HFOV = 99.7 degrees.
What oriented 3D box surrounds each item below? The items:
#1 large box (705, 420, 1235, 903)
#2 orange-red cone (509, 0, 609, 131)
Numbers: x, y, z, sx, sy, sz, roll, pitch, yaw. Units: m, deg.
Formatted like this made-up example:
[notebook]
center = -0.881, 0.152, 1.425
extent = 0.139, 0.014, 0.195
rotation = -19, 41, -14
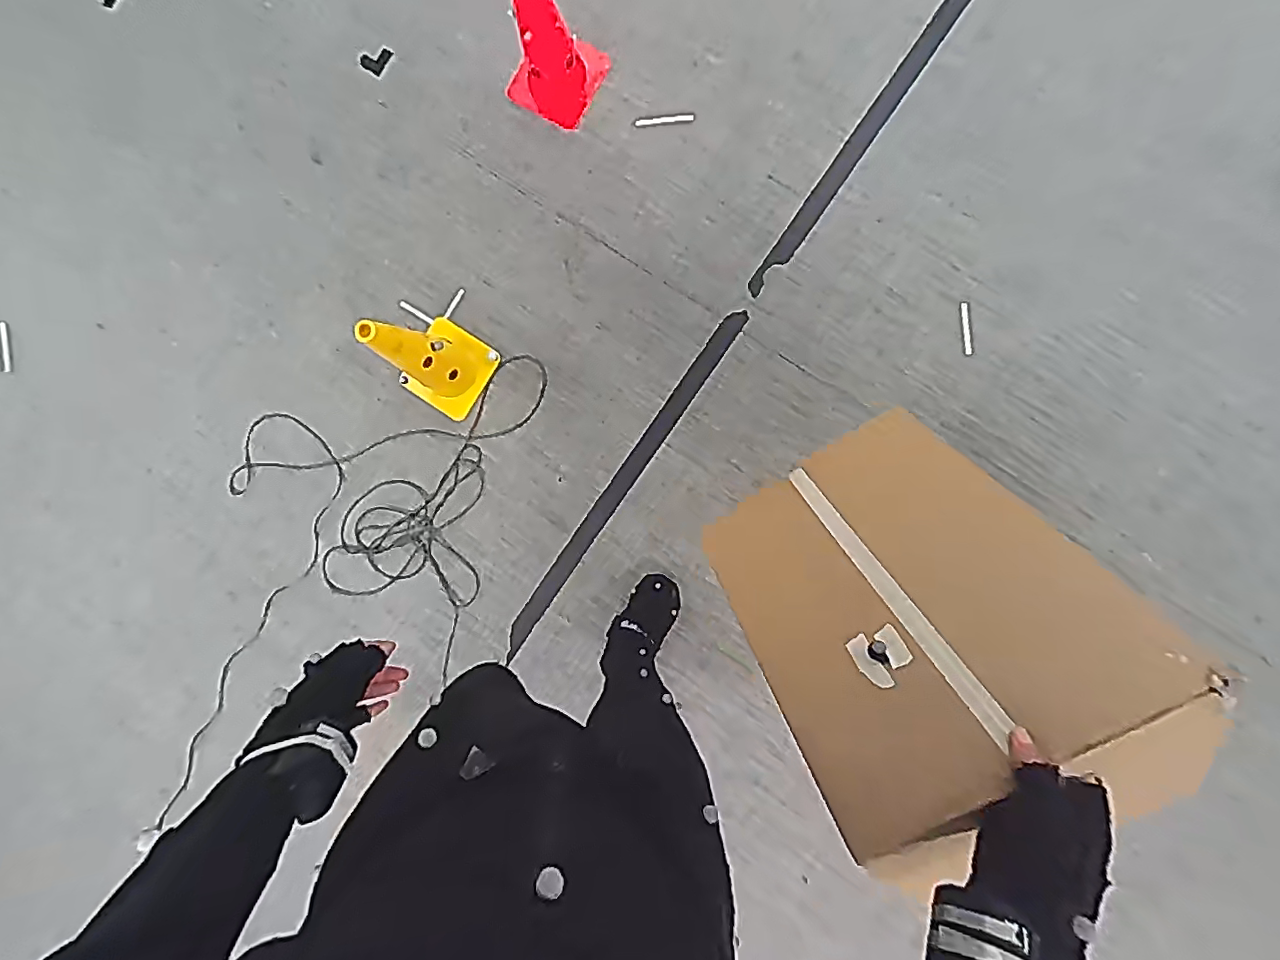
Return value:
[large box]
center = 0.335, 0.205, 0.660
extent = 0.320, 0.408, 0.320
rotation = -33, 129, 9
[orange-red cone]
center = -0.217, -0.967, 1.142
extent = 0.198, 0.360, 0.199
rotation = 32, 95, 5
